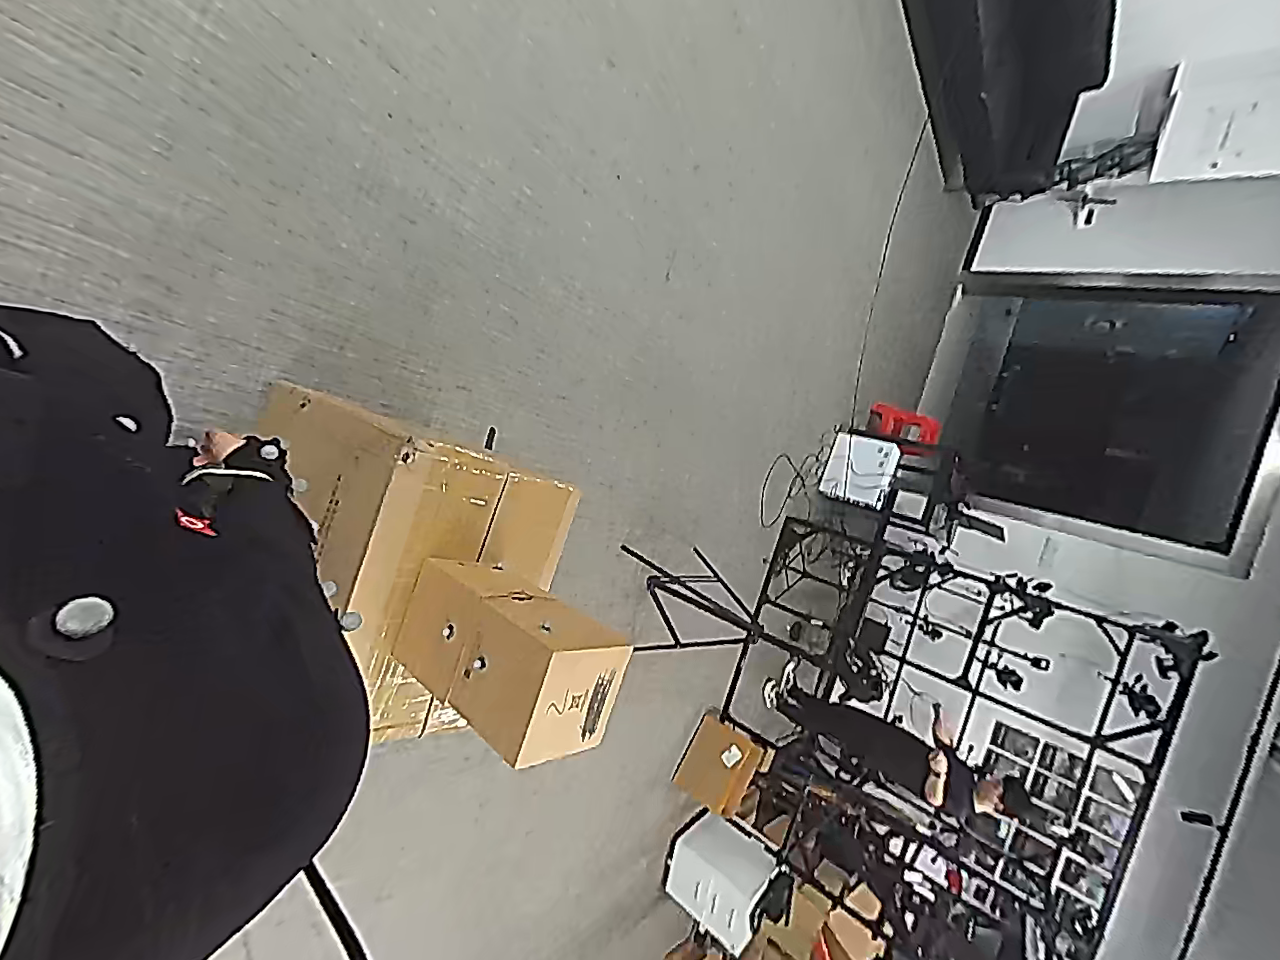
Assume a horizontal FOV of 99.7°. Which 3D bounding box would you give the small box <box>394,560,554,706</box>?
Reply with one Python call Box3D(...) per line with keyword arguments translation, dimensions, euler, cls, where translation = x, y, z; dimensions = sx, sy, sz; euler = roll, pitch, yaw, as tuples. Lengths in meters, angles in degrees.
Box3D(translation=(-0.279, 0.245, 0.901), dimensions=(0.168, 0.176, 0.179), euler=(20, 90, -52), cls="small box")
